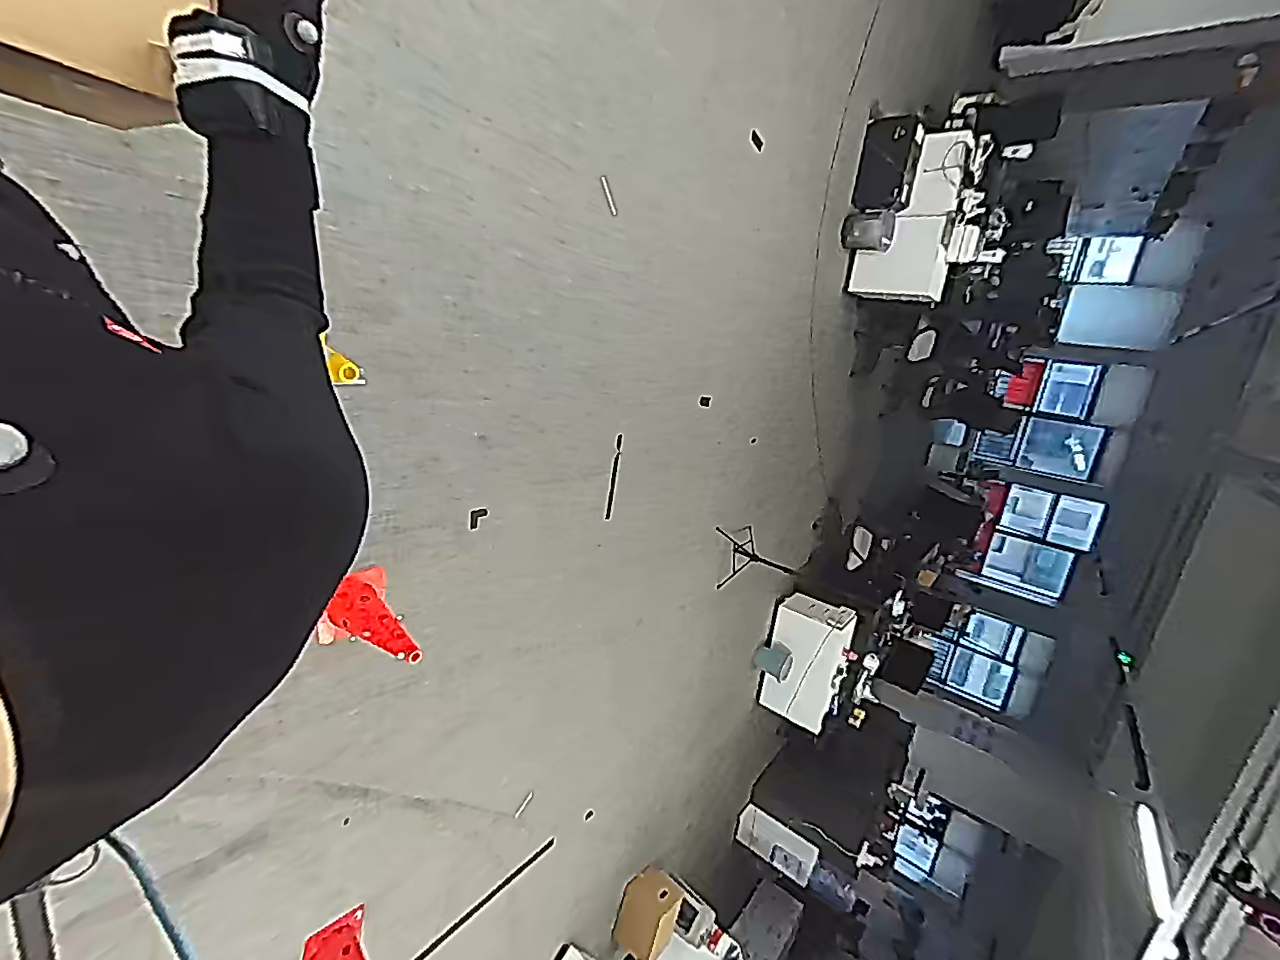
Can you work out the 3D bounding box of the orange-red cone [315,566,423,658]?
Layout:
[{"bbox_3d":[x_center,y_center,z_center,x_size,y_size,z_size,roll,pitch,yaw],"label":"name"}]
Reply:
[{"bbox_3d":[-0.726,0.408,1.514,0.198,0.360,0.199,-15,116,-51],"label":"orange-red cone"}]

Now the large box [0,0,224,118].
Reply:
[{"bbox_3d":[-0.521,-0.453,0.292,0.408,0.320,0.320,-9,117,-53],"label":"large box"}]

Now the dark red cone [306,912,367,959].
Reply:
[{"bbox_3d":[-0.926,1.667,1.773,0.201,0.394,0.202,-2,106,-52],"label":"dark red cone"}]
